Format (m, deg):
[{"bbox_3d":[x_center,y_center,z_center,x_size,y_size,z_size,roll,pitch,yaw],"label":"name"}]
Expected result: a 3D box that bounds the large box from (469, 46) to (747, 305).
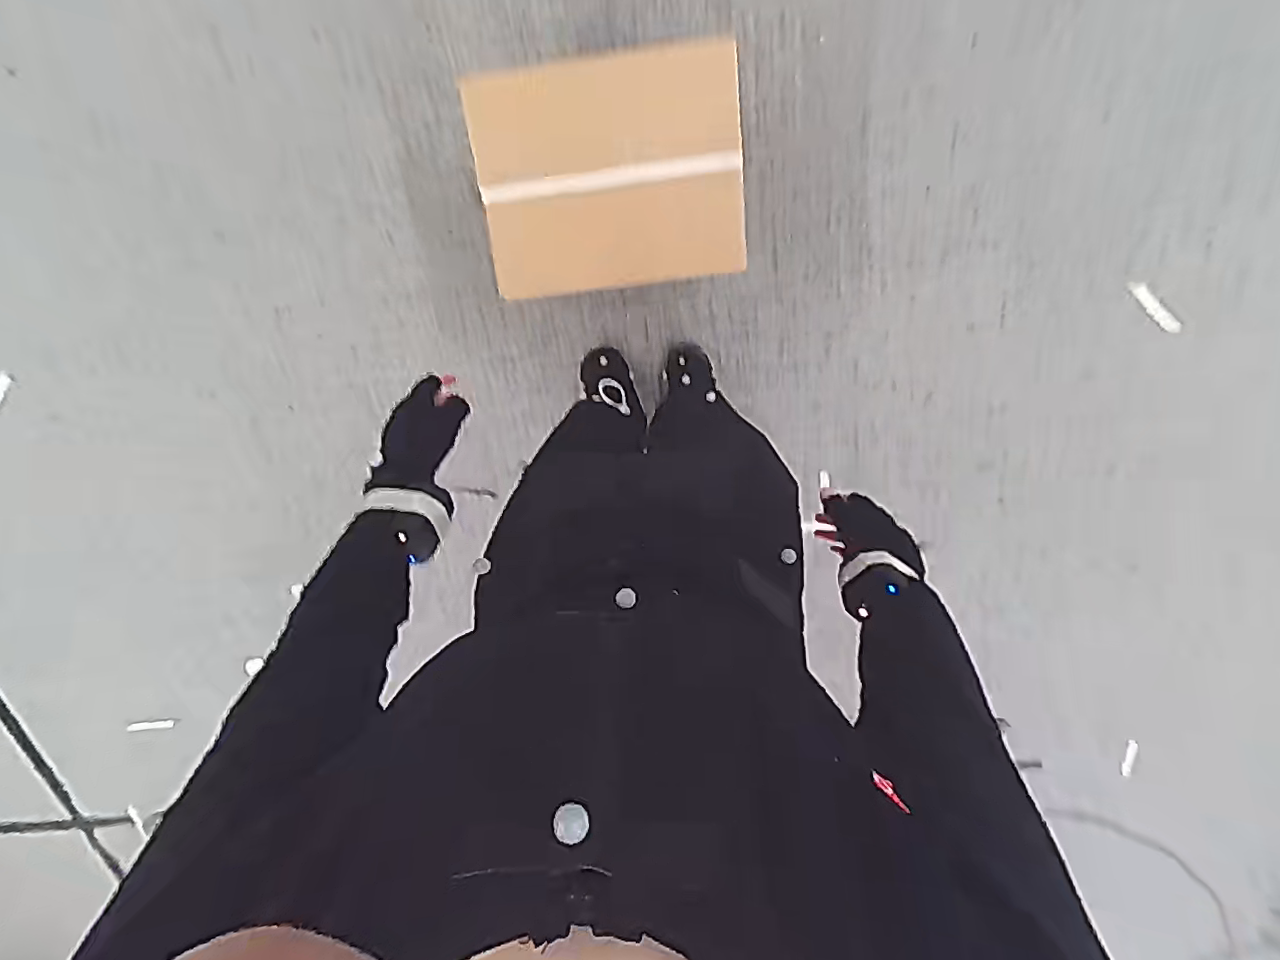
[{"bbox_3d":[-0.038,-0.511,0.977,0.408,0.320,0.320,-6,112,4],"label":"large box"}]
